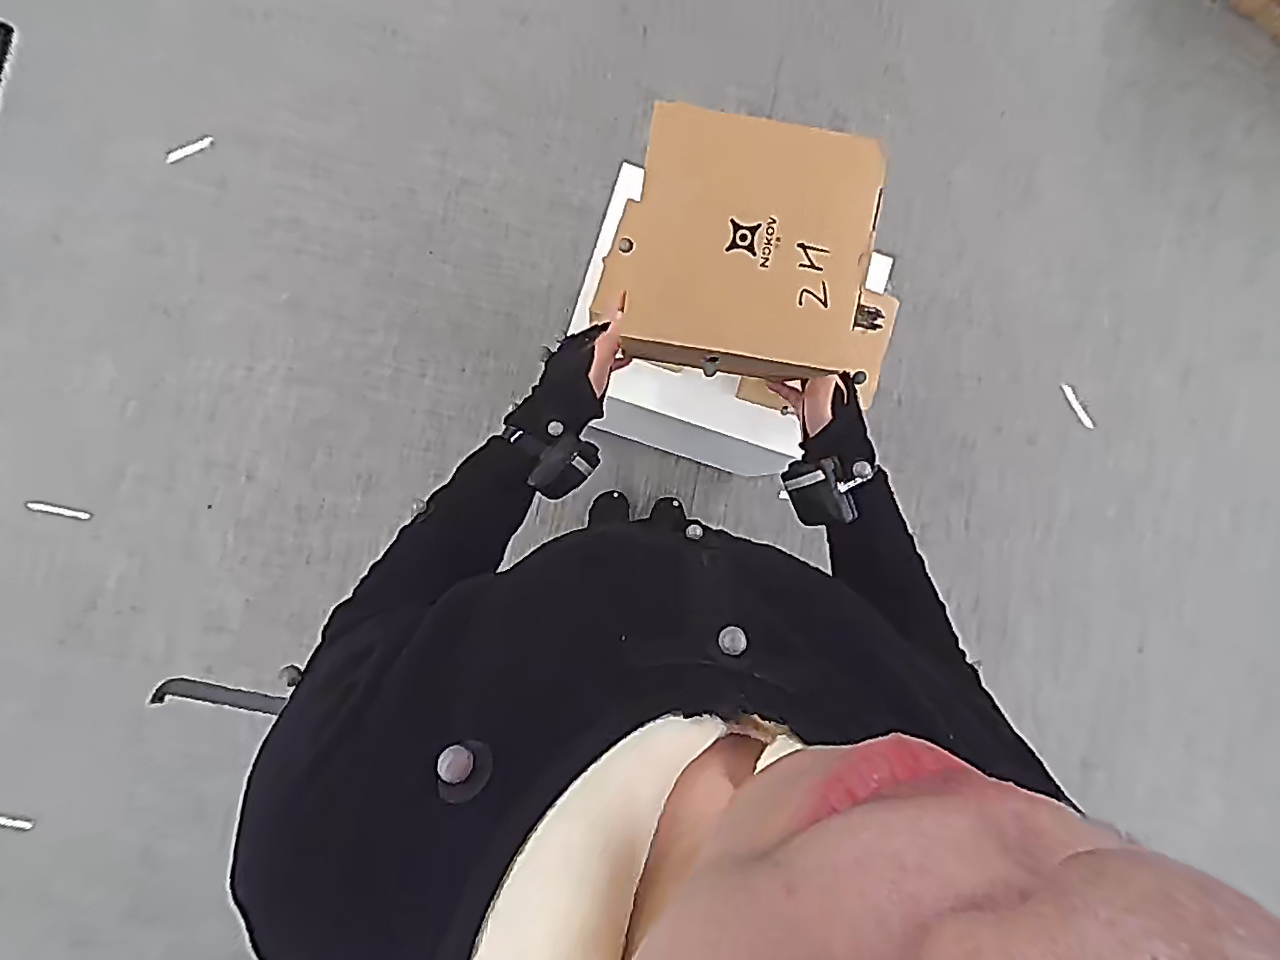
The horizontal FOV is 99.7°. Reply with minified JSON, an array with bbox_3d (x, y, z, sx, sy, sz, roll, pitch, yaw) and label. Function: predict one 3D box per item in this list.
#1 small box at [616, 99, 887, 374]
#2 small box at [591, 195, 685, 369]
[{"bbox_3d":[0.078,-0.188,0.473,0.179,0.176,0.168,9,99,-3],"label":"small box"},{"bbox_3d":[0.026,-0.296,0.846,0.168,0.176,0.179,19,87,-3],"label":"small box"}]
